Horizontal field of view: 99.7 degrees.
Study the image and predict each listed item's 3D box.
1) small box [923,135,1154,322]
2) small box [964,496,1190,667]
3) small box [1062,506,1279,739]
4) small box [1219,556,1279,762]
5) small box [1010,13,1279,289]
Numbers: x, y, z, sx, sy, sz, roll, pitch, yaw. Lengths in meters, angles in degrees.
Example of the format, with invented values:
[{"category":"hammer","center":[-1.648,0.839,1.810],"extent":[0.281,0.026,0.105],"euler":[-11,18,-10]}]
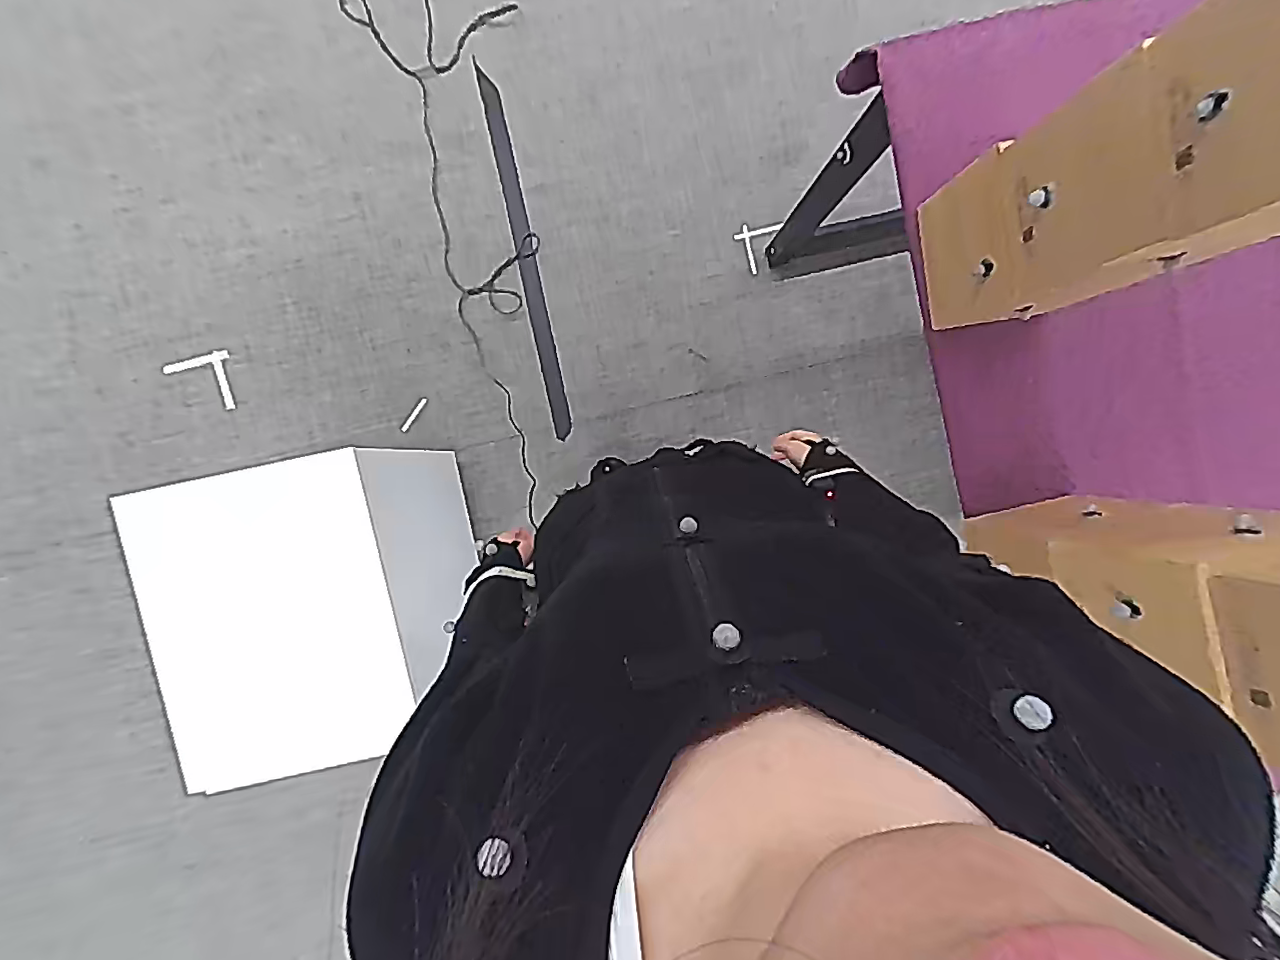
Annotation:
[{"category":"small box","center":[0.490,-0.309,0.686],"extent":[0.168,0.176,0.179],"euler":[-9,93,-2]},{"category":"small box","center":[0.572,0.120,0.711],"extent":[0.179,0.176,0.168],"euler":[-13,92,-1]},{"category":"small box","center":[0.575,0.127,0.549],"extent":[0.179,0.176,0.168],"euler":[-13,92,-2]},{"category":"small box","center":[0.592,0.139,0.386],"extent":[0.179,0.176,0.168],"euler":[-13,92,-3]},{"category":"small box","center":[0.506,-0.300,0.523],"extent":[0.179,0.176,0.168],"euler":[-10,93,-1]}]
